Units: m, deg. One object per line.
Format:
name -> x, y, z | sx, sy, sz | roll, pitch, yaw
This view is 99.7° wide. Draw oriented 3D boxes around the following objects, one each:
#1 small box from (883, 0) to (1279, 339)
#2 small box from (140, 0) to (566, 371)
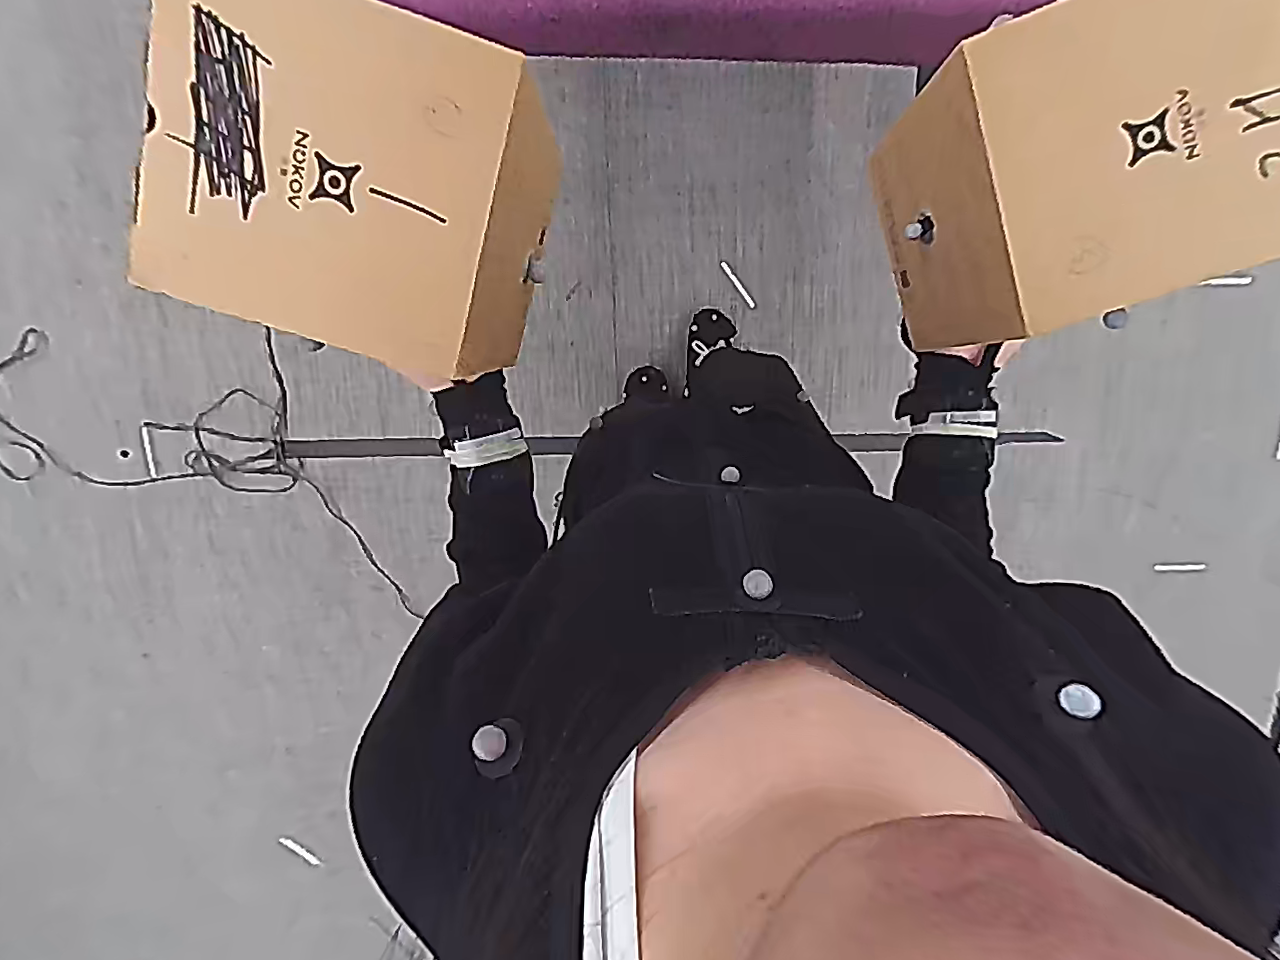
small box -> 0.287, -0.204, 0.369 | 0.179, 0.176, 0.168 | -17, 99, 8
small box -> -0.158, -0.178, 0.350 | 0.179, 0.176, 0.168 | 16, 104, -6
